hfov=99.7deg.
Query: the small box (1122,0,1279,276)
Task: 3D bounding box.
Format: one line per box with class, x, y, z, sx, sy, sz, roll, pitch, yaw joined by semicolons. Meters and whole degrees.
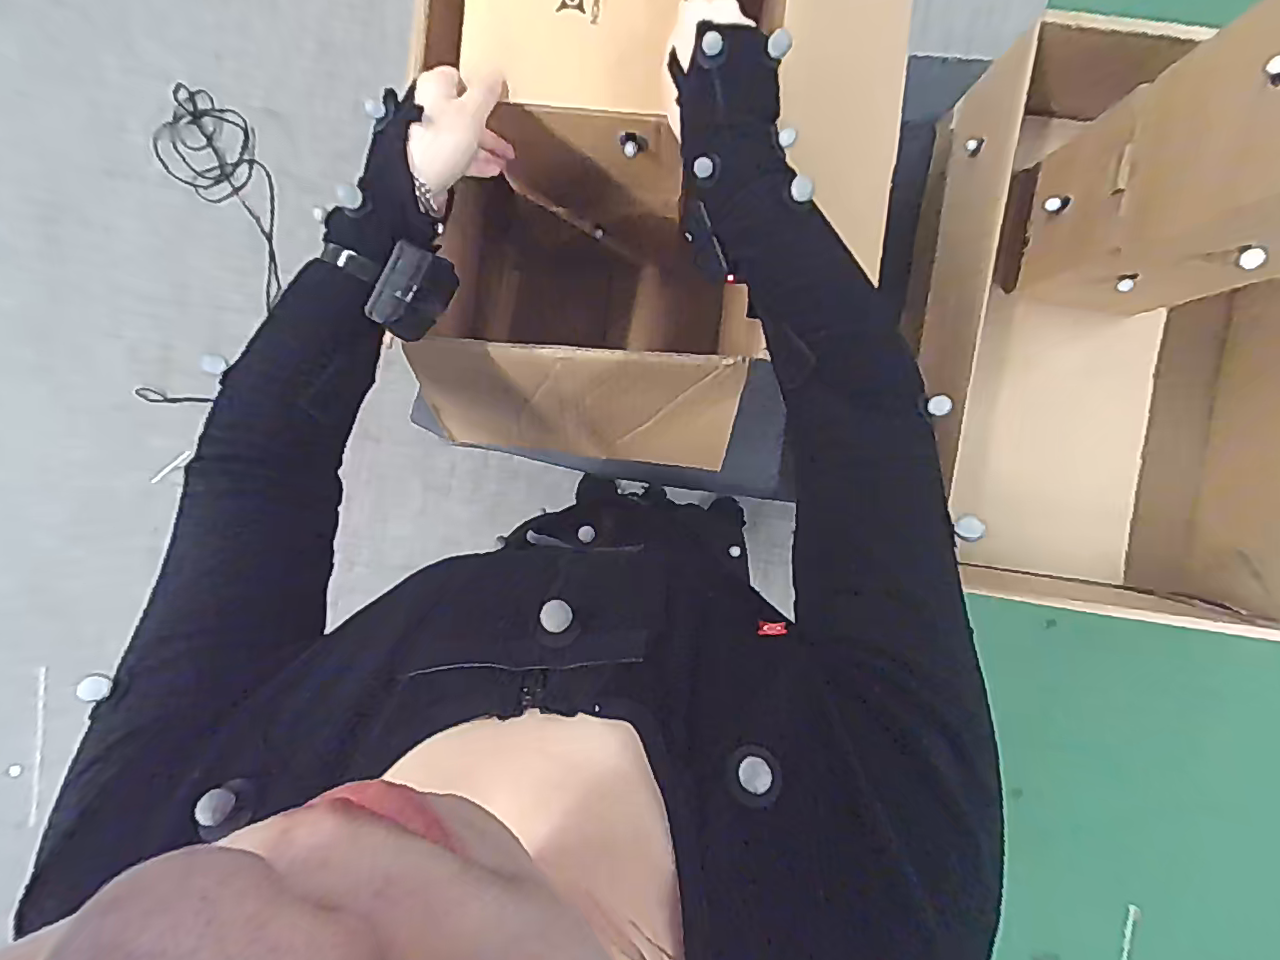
small box;0.567;-0.294;0.456;0.168;0.176;0.179;8;95;1
